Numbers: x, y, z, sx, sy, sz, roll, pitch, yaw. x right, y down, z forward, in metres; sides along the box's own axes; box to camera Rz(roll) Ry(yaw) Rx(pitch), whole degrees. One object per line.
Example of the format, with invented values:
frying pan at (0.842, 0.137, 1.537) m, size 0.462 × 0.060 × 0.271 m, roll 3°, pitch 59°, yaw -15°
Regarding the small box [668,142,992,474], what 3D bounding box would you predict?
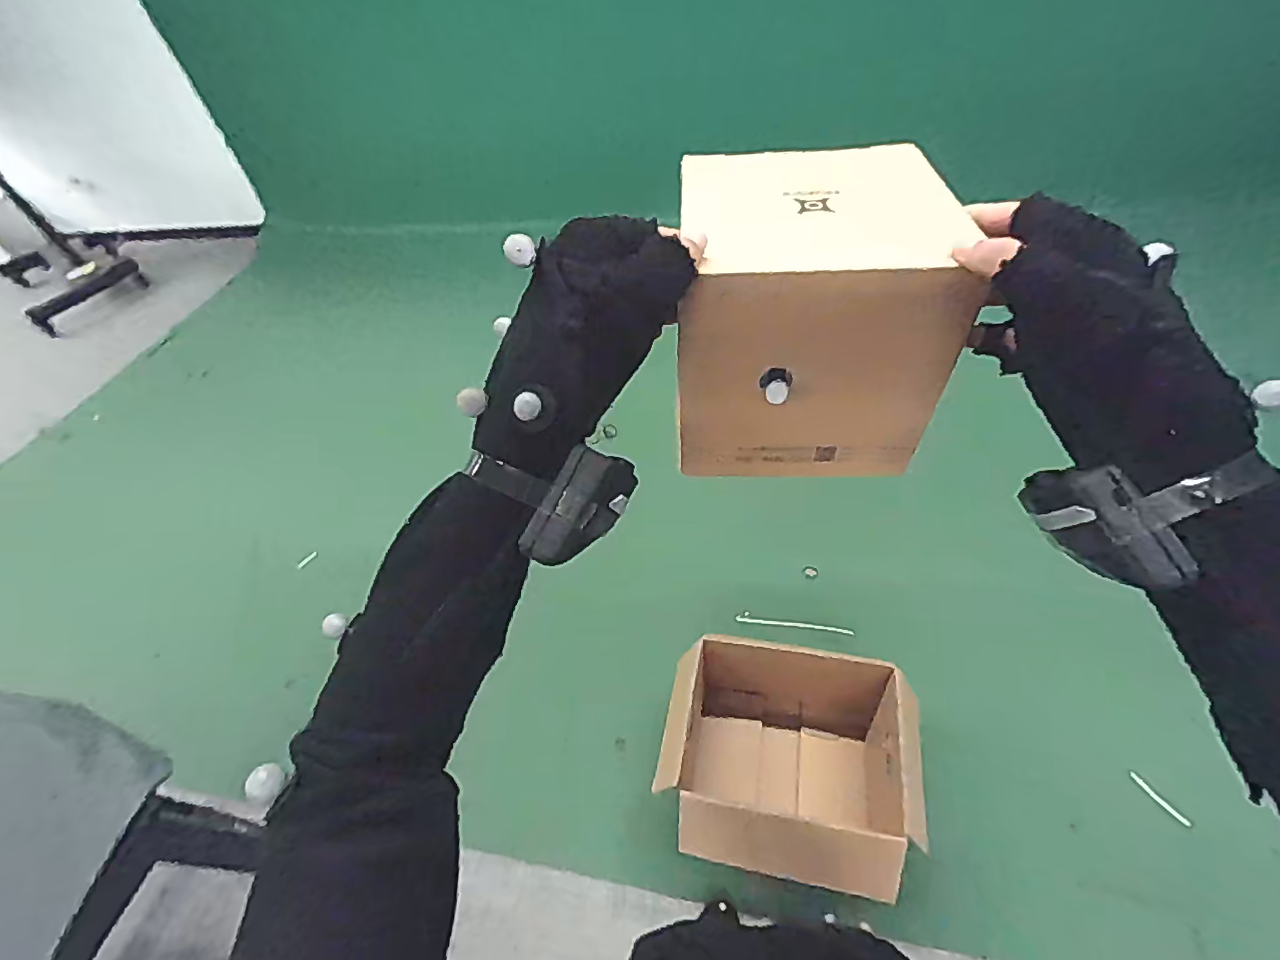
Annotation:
small box at (0.108, -0.117, 0.391) m, size 0.168 × 0.176 × 0.179 m, roll -1°, pitch 48°, yaw 5°
